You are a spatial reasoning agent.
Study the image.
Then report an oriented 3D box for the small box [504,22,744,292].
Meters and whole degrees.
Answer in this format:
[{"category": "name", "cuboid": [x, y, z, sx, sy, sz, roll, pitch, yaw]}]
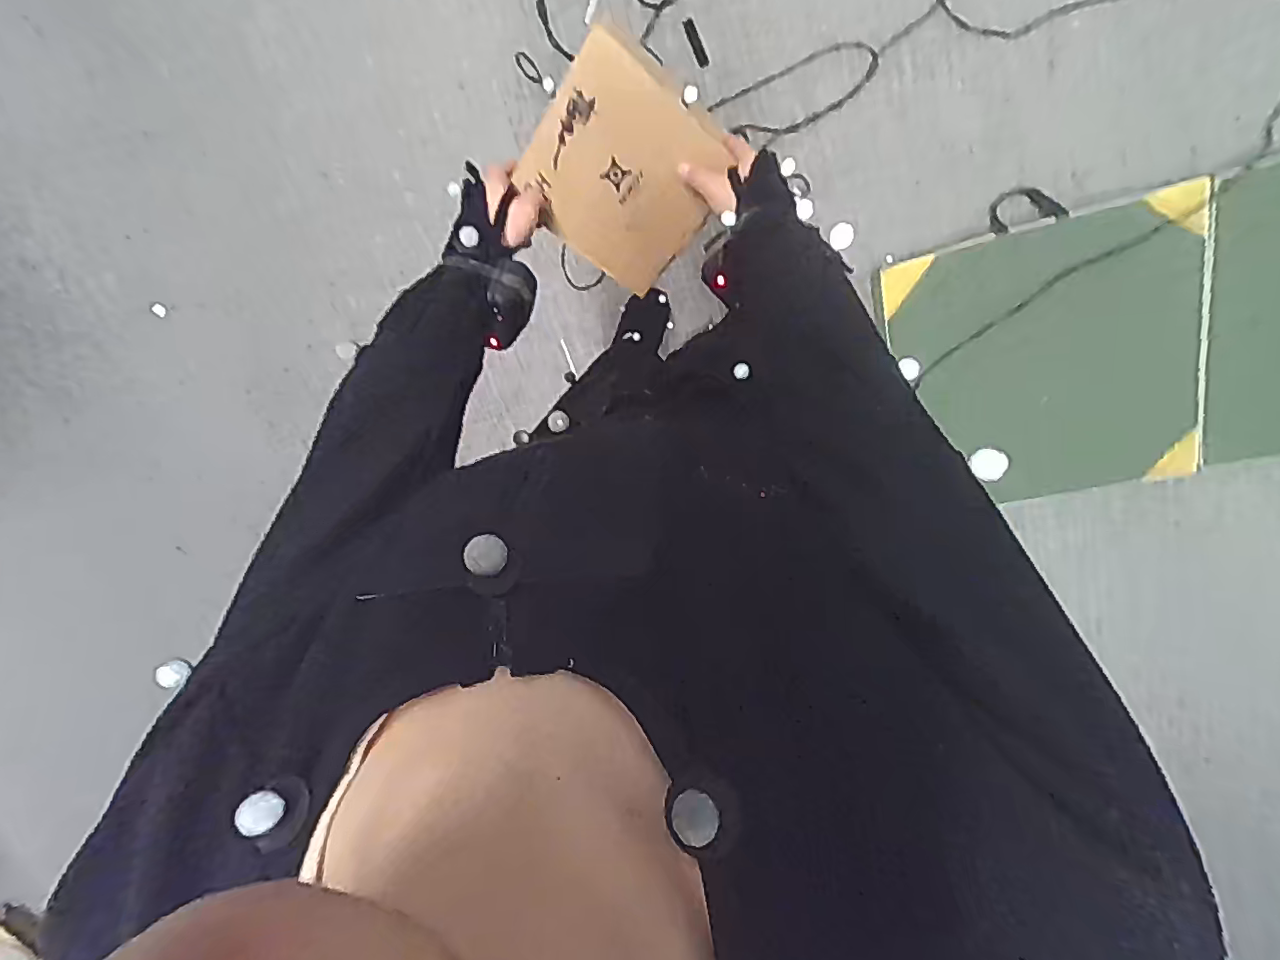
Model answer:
[{"category": "small box", "cuboid": [-0.016, -0.345, 0.577, 0.179, 0.176, 0.168, 31, 125, -25]}]
